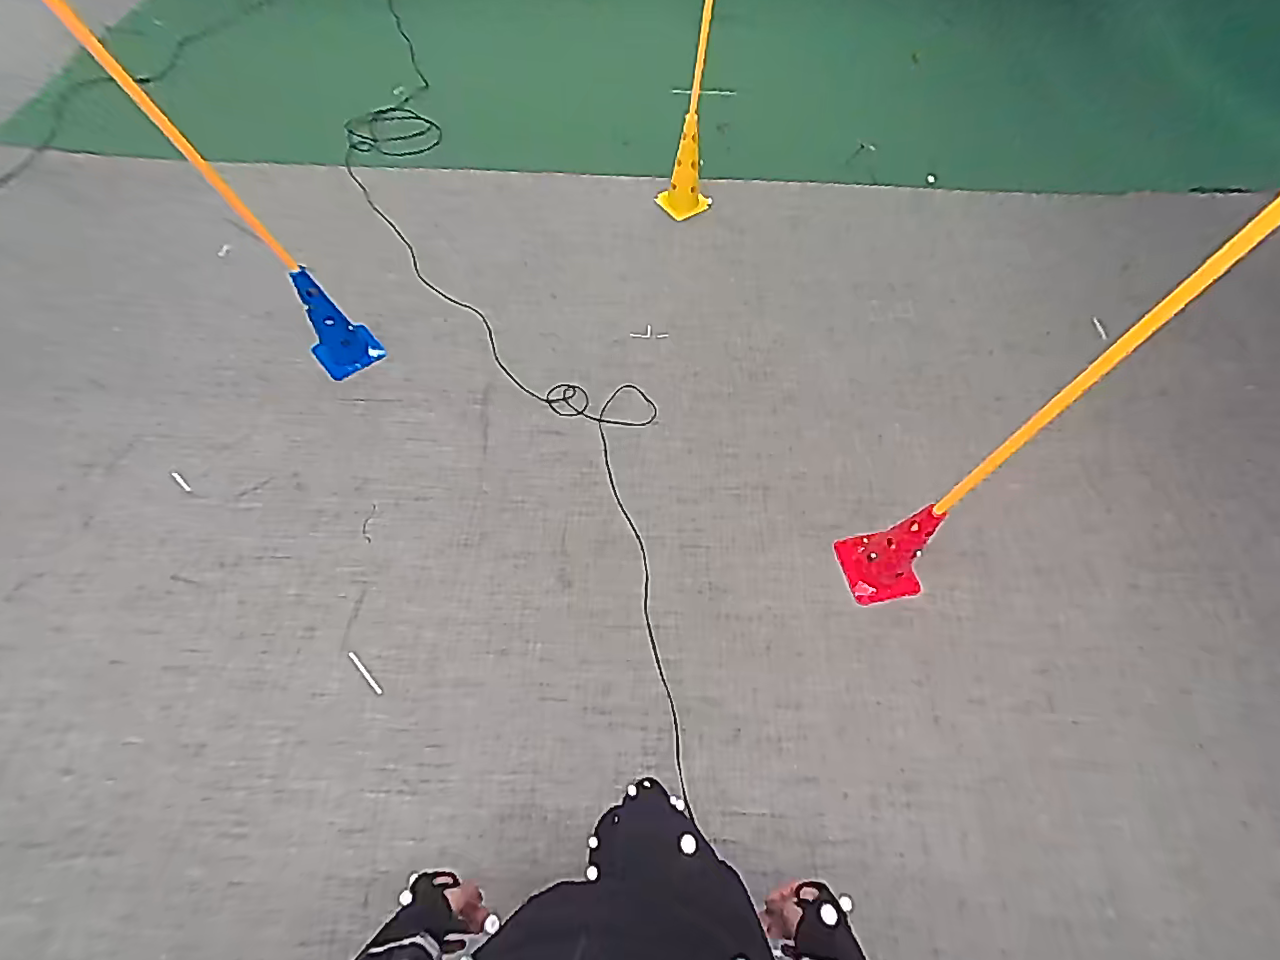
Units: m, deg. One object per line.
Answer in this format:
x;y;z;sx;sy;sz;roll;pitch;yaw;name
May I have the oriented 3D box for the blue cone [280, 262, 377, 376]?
-1.032;-0.532;1.738;0.193;0.380;0.192;-39;69;-19;blue cone
